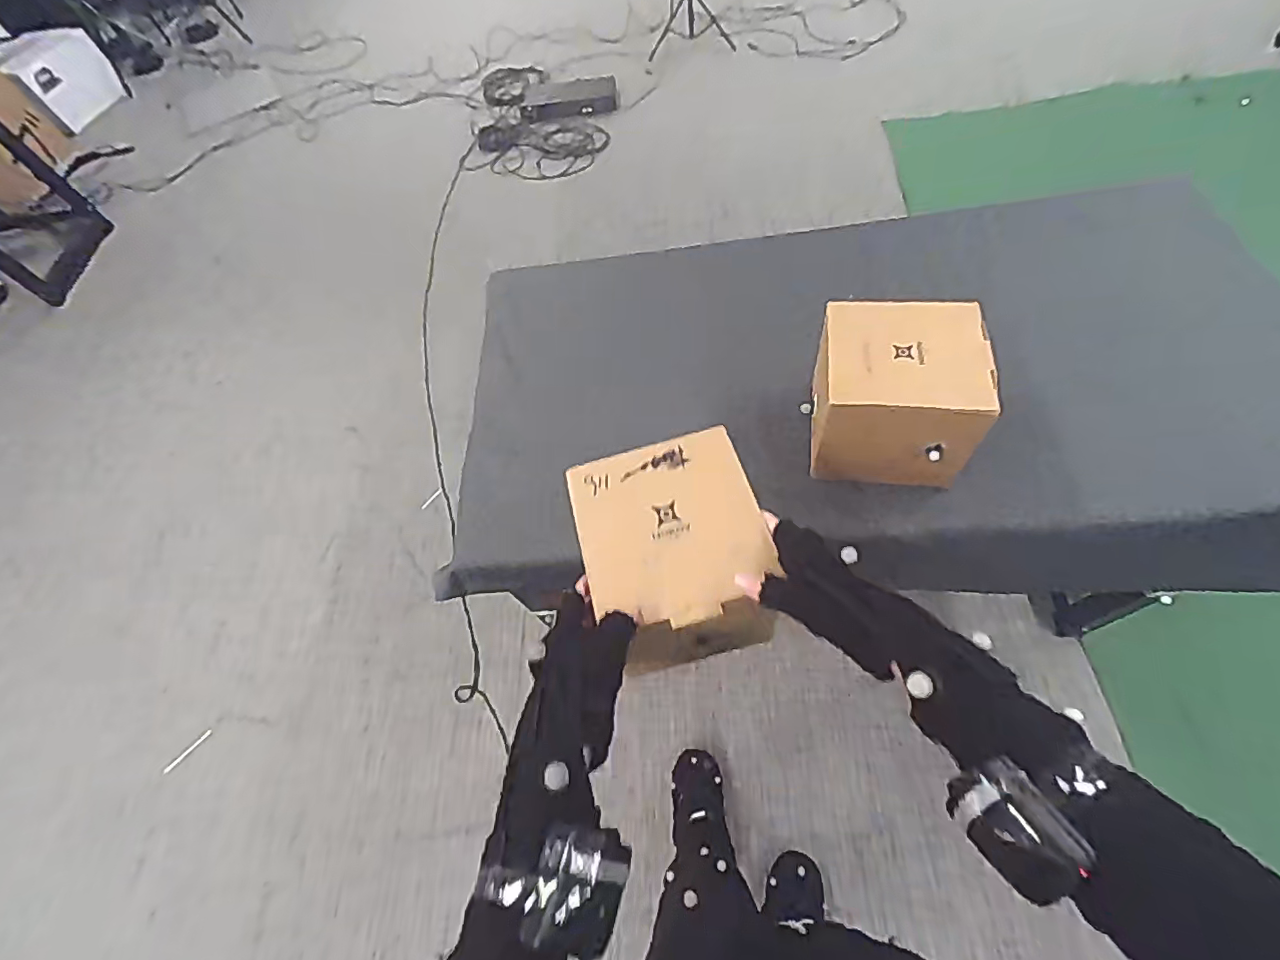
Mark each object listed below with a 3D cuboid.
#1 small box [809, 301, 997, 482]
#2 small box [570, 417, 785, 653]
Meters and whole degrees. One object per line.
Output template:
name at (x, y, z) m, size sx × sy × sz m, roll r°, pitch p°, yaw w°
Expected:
small box at (0.320, -0.109, 0.698) m, size 0.179 × 0.176 × 0.168 m, roll 3°, pitch 60°, yaw 12°
small box at (0.038, 0.068, 0.564) m, size 0.168 × 0.176 × 0.179 m, roll -15°, pitch 59°, yaw -1°
